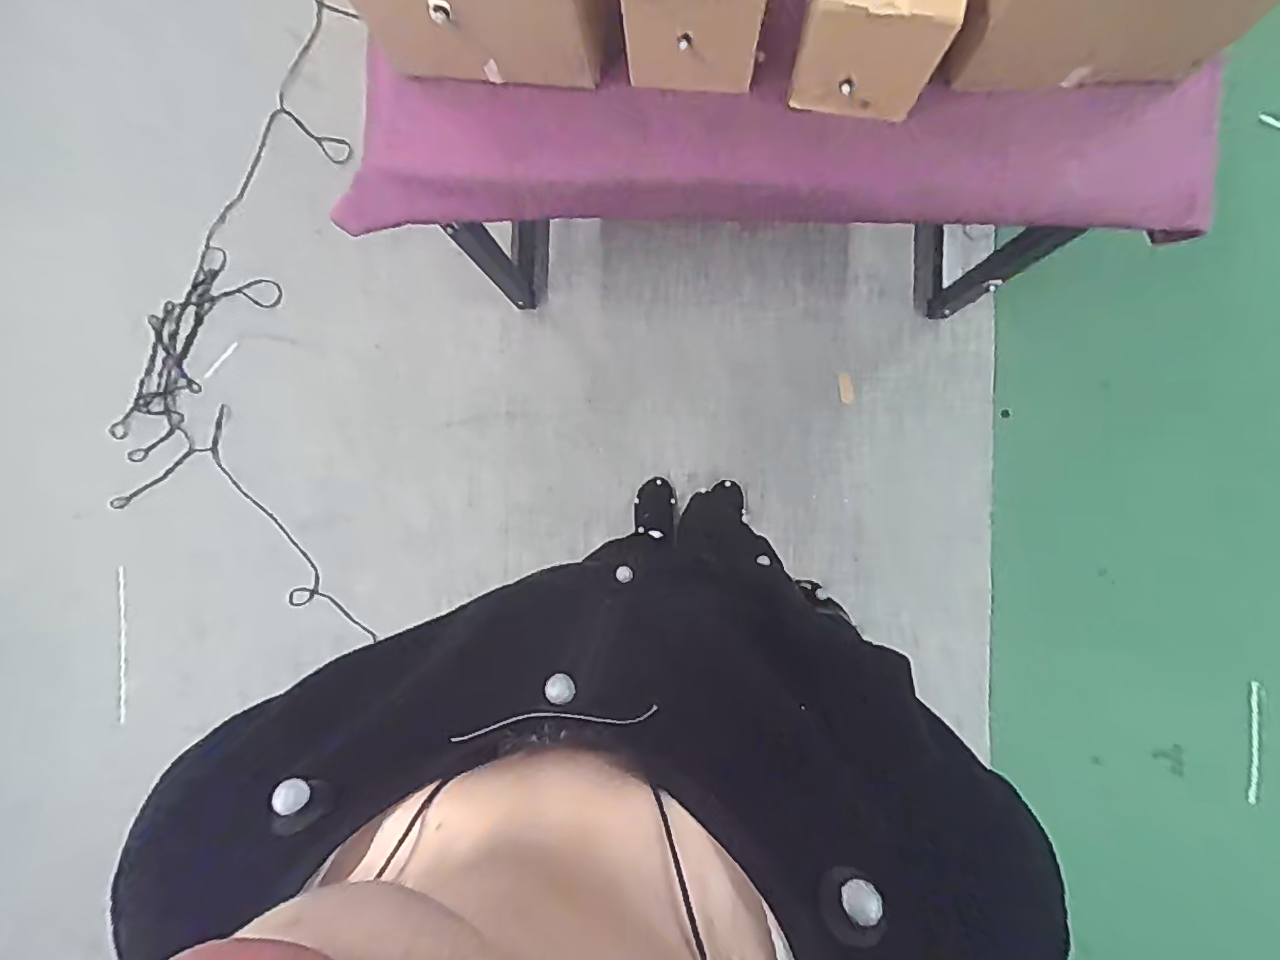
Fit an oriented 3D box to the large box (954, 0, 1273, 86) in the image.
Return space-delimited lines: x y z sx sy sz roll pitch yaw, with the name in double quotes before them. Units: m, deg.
"large box" 0.578 -0.748 0.598 0.320 0.320 0.408 1 91 6
